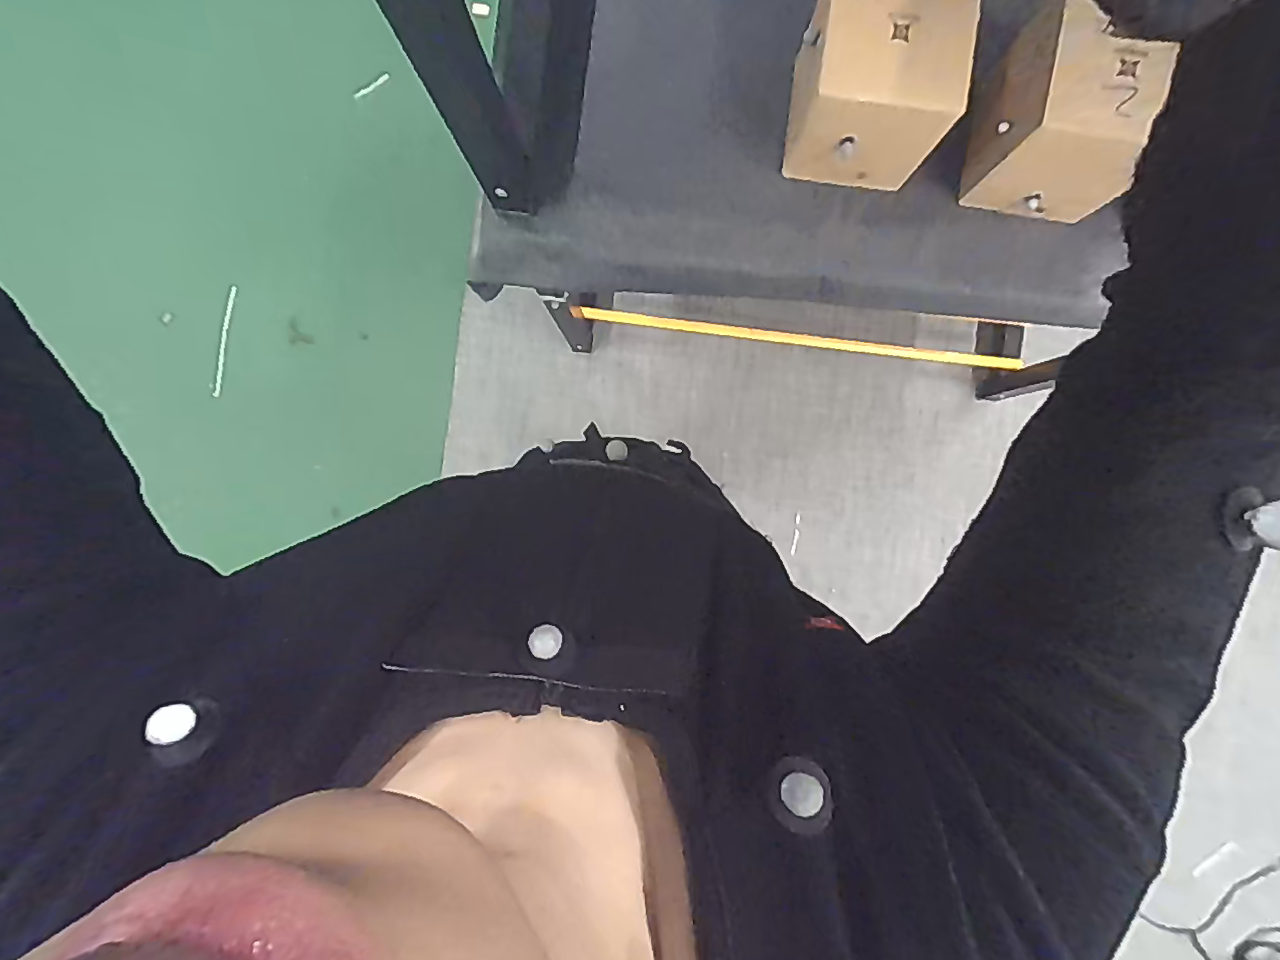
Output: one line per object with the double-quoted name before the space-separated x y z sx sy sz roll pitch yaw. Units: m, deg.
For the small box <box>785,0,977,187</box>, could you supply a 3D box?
"small box" 0.290 -0.502 0.683 0.168 0.176 0.179 7 89 1
